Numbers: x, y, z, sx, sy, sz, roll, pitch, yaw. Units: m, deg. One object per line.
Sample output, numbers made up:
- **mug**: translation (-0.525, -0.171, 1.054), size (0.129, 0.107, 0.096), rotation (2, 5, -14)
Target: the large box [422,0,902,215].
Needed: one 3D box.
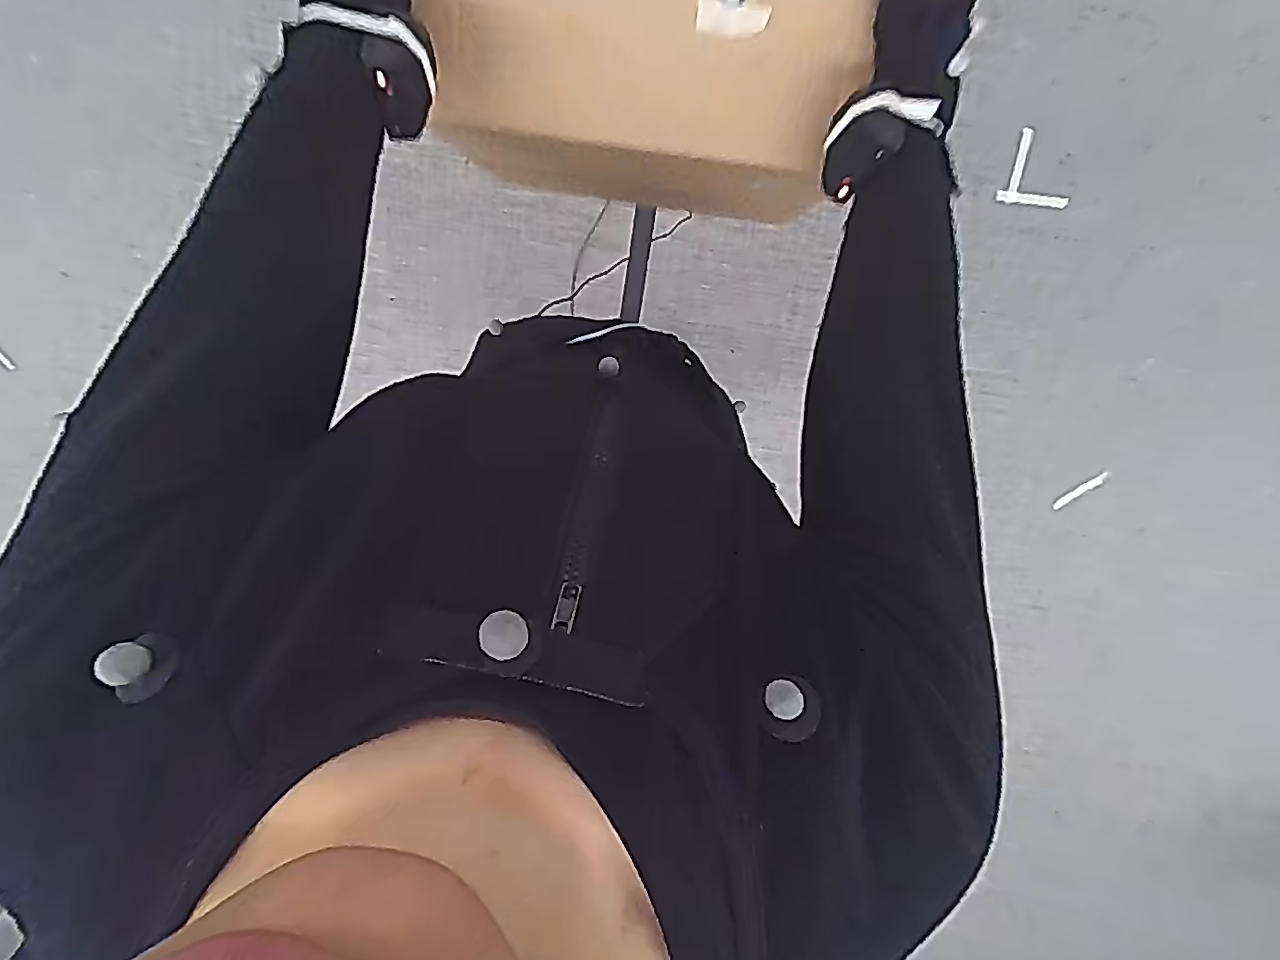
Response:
- **large box**: translation (0.024, -0.491, 0.573), size (0.408, 0.320, 0.320), rotation (7, 110, -2)
